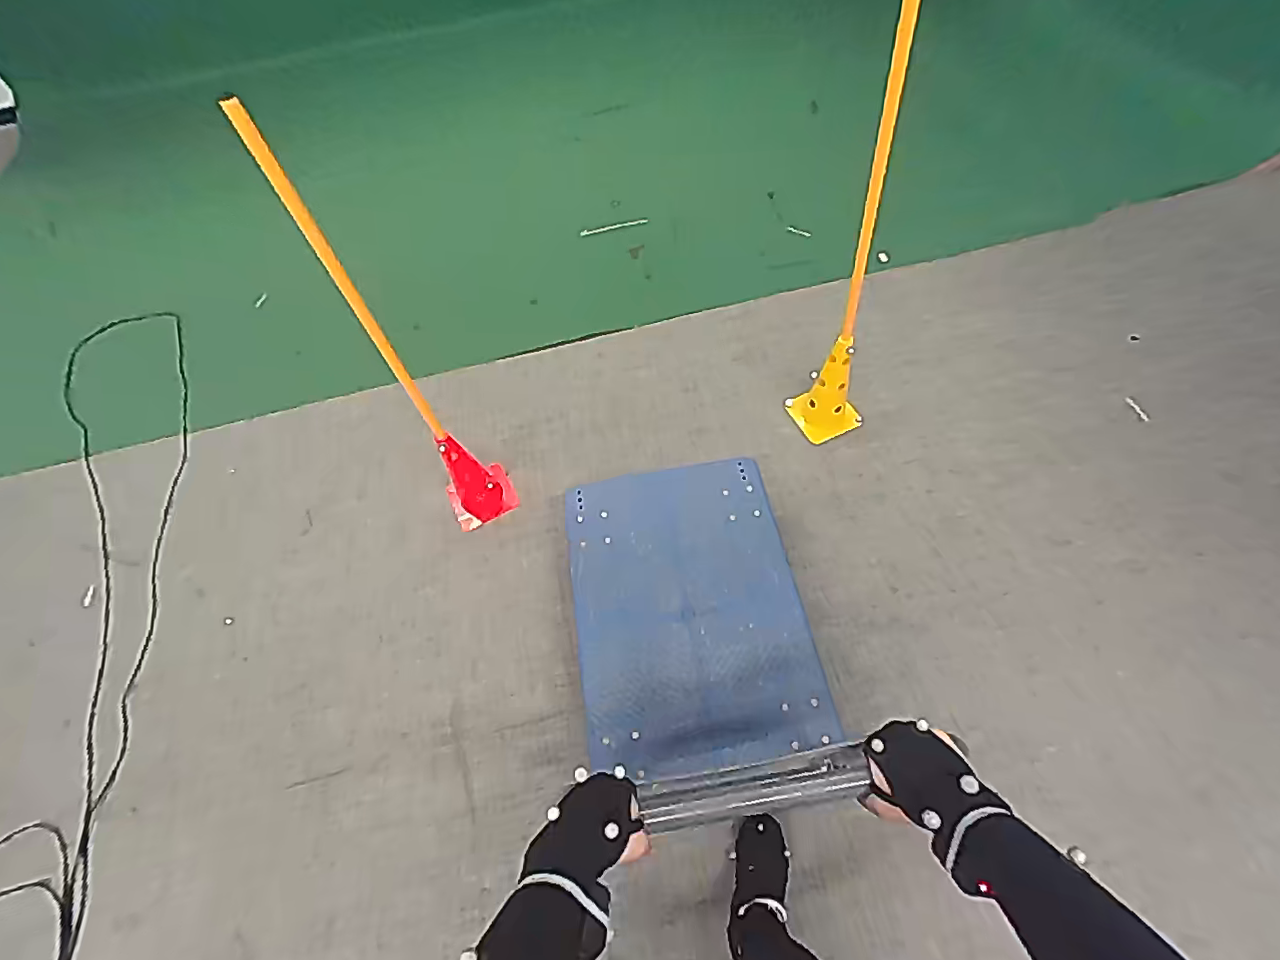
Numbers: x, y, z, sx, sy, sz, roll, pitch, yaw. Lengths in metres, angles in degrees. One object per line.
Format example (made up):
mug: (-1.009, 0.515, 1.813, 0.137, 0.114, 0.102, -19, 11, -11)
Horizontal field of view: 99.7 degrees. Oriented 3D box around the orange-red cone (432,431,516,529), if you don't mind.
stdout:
orange-red cone: (-0.541, -0.033, 1.642, 0.199, 0.360, 0.198, -27, 61, -9)
